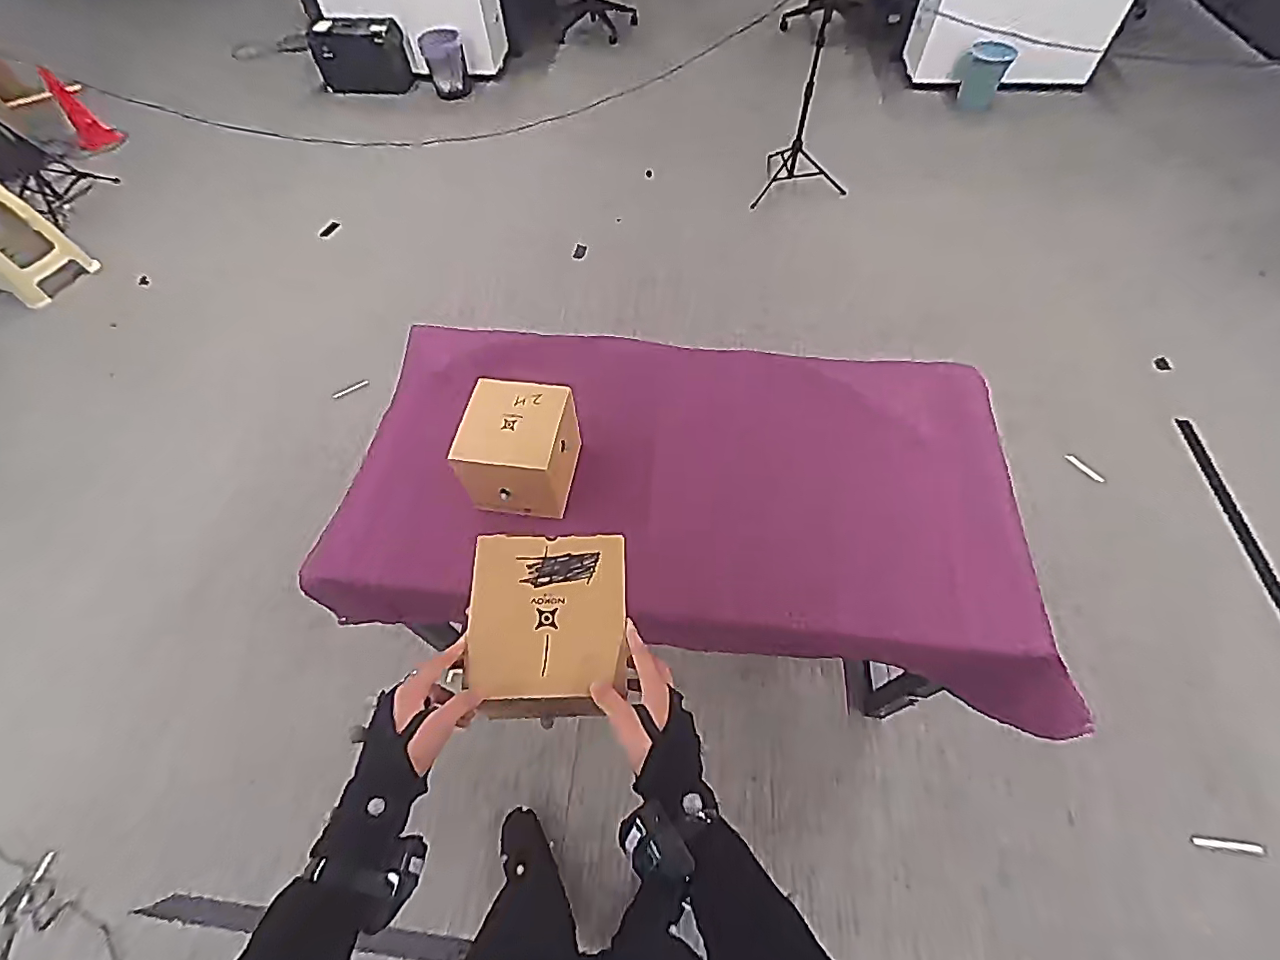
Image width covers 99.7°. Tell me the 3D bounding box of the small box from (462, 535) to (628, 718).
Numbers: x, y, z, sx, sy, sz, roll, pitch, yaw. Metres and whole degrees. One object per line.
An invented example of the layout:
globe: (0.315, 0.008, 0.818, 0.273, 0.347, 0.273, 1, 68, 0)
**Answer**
small box: (-0.101, 0.178, 0.642, 0.168, 0.176, 0.179, 0, 61, -4)

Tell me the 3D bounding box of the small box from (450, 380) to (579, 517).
small box: (-0.209, -0.051, 0.962, 0.168, 0.176, 0.179, 7, 58, 5)
